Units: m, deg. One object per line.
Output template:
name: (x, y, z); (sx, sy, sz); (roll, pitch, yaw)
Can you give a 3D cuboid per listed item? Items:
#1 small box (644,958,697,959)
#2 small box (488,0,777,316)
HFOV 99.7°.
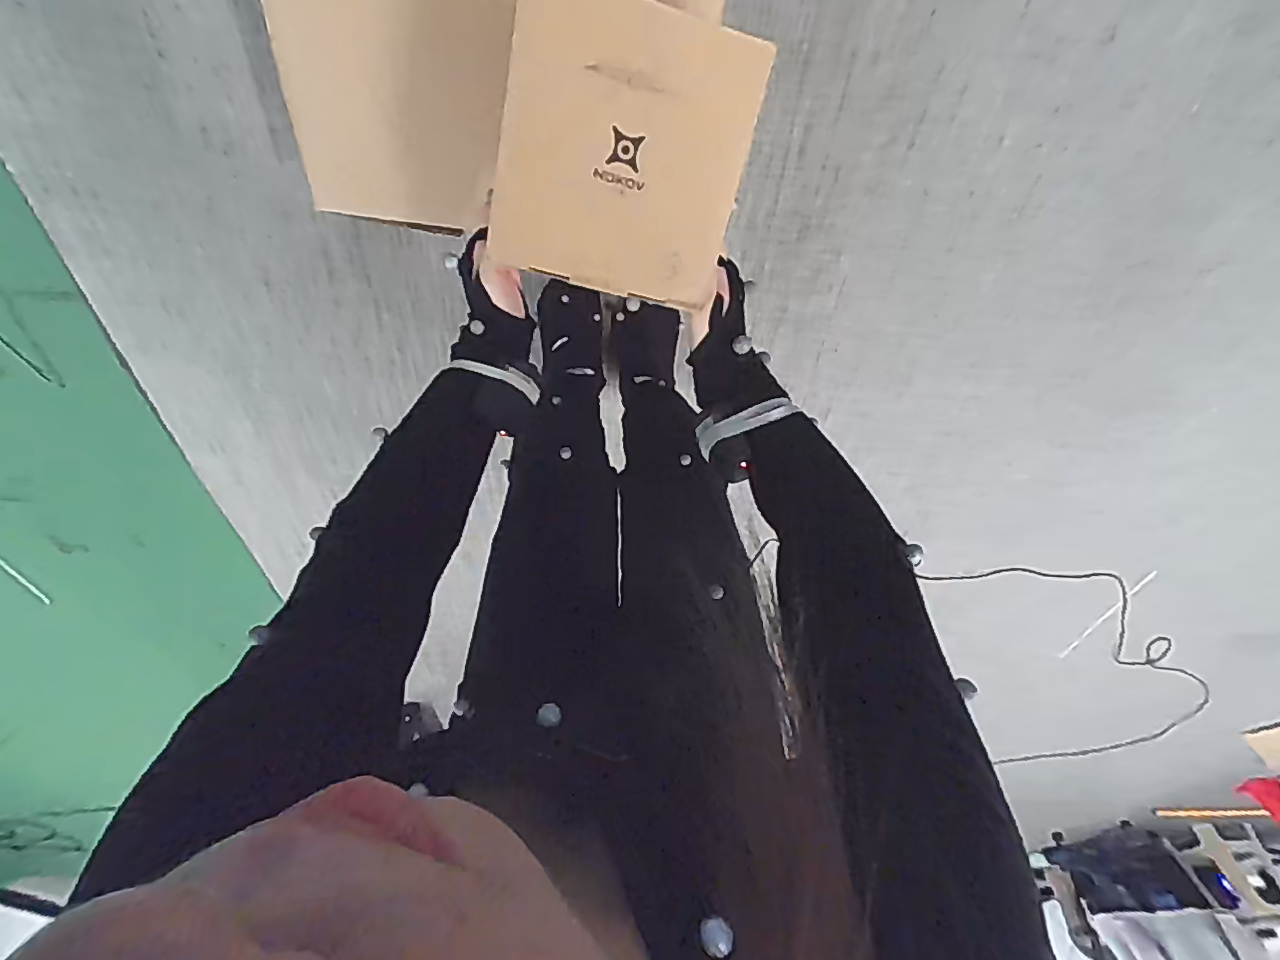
small box: (0.080, 1.464, 1.520); (0.179, 0.176, 0.168); (3, 132, -3)
small box: (-0.015, -0.250, 0.440); (0.168, 0.176, 0.179); (11, 112, -11)
